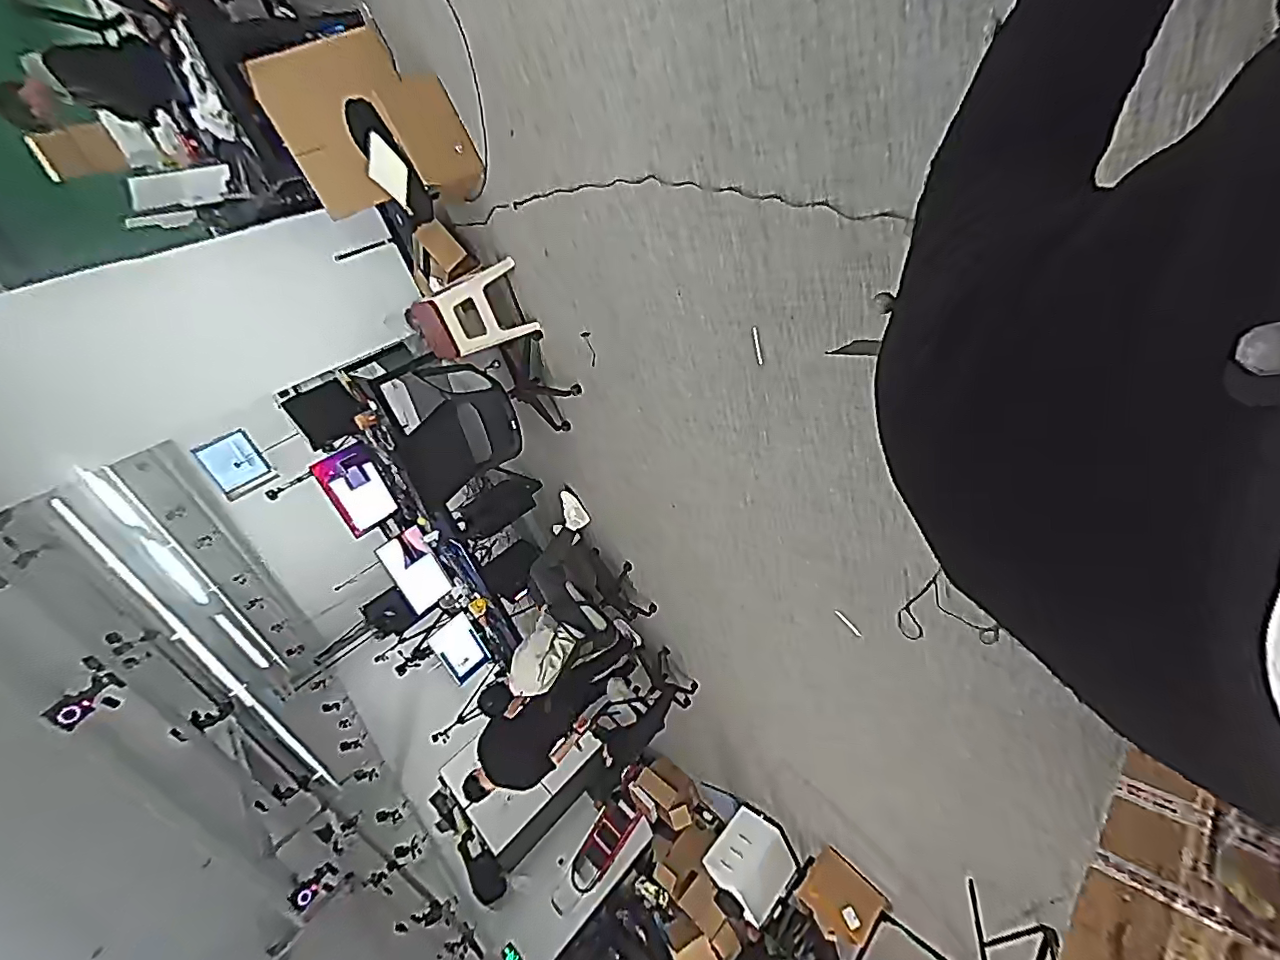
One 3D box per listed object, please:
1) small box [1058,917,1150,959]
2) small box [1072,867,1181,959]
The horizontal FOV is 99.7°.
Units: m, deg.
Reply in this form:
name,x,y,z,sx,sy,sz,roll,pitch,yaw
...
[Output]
name,x,y,z,sx,sy,sz,roll,pitch,yaw
small box,1.127,1.221,1.300,0.179,0.176,0.168,7,124,52
small box,1.247,1.147,1.387,0.179,0.176,0.168,7,124,53
